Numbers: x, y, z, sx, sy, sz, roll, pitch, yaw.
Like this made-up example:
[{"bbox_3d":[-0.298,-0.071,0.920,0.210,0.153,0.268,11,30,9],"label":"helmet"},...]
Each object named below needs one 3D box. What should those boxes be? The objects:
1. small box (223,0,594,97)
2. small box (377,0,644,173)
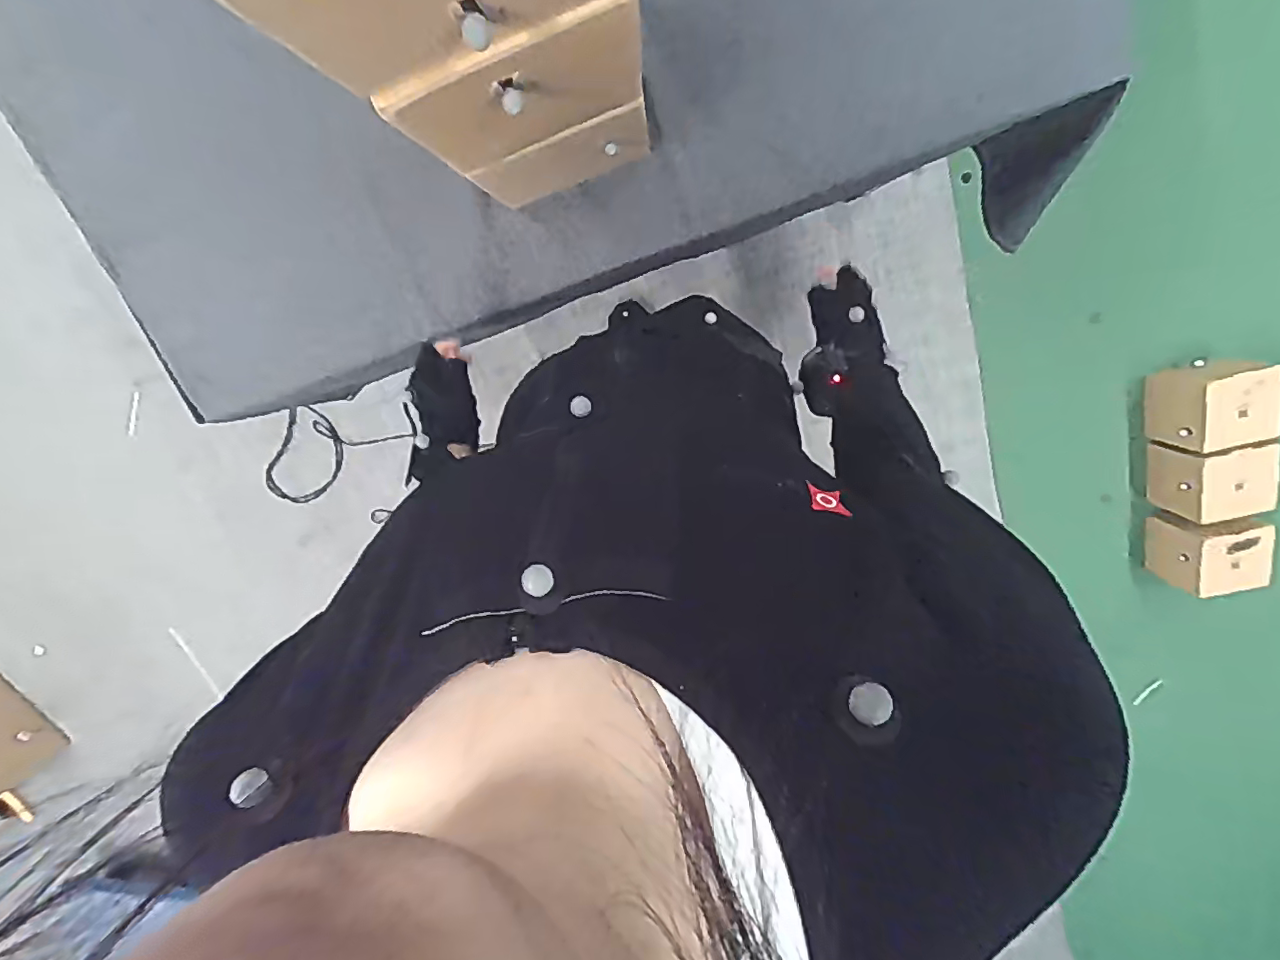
[{"bbox_3d":[-0.114,-0.307,0.229,0.179,0.176,0.168,-17,106,7],"label":"small box"},{"bbox_3d":[-0.104,-0.352,0.386,0.179,0.176,0.168,-19,106,8],"label":"small box"}]
